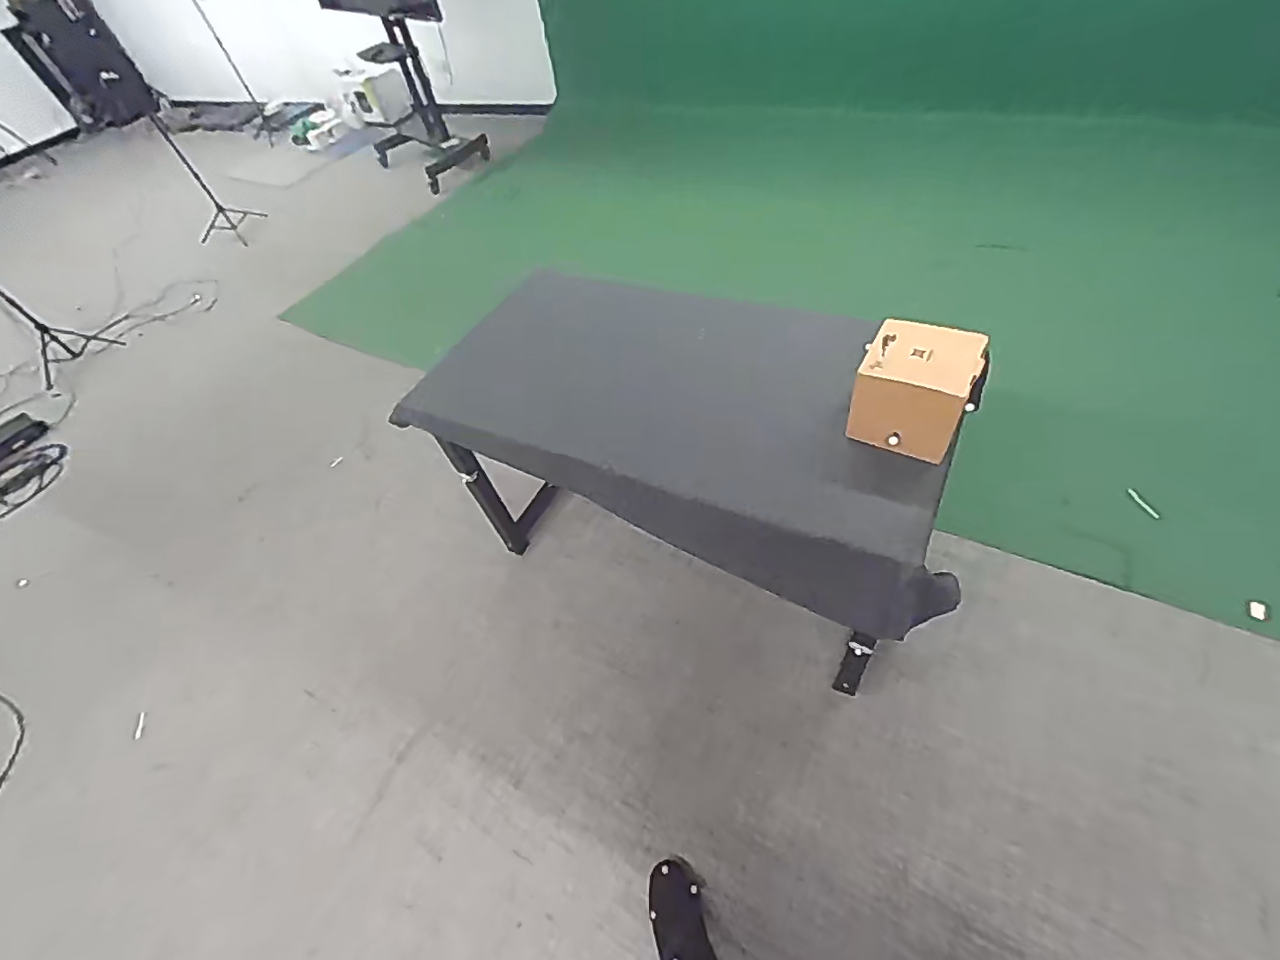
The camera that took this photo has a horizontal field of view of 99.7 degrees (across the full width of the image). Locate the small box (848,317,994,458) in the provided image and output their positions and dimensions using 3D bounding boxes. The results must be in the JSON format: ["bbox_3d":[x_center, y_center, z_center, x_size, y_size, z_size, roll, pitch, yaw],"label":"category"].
[{"bbox_3d":[0.505,-0.165,0.991,0.179,0.176,0.168,23,59,25],"label":"small box"}]
